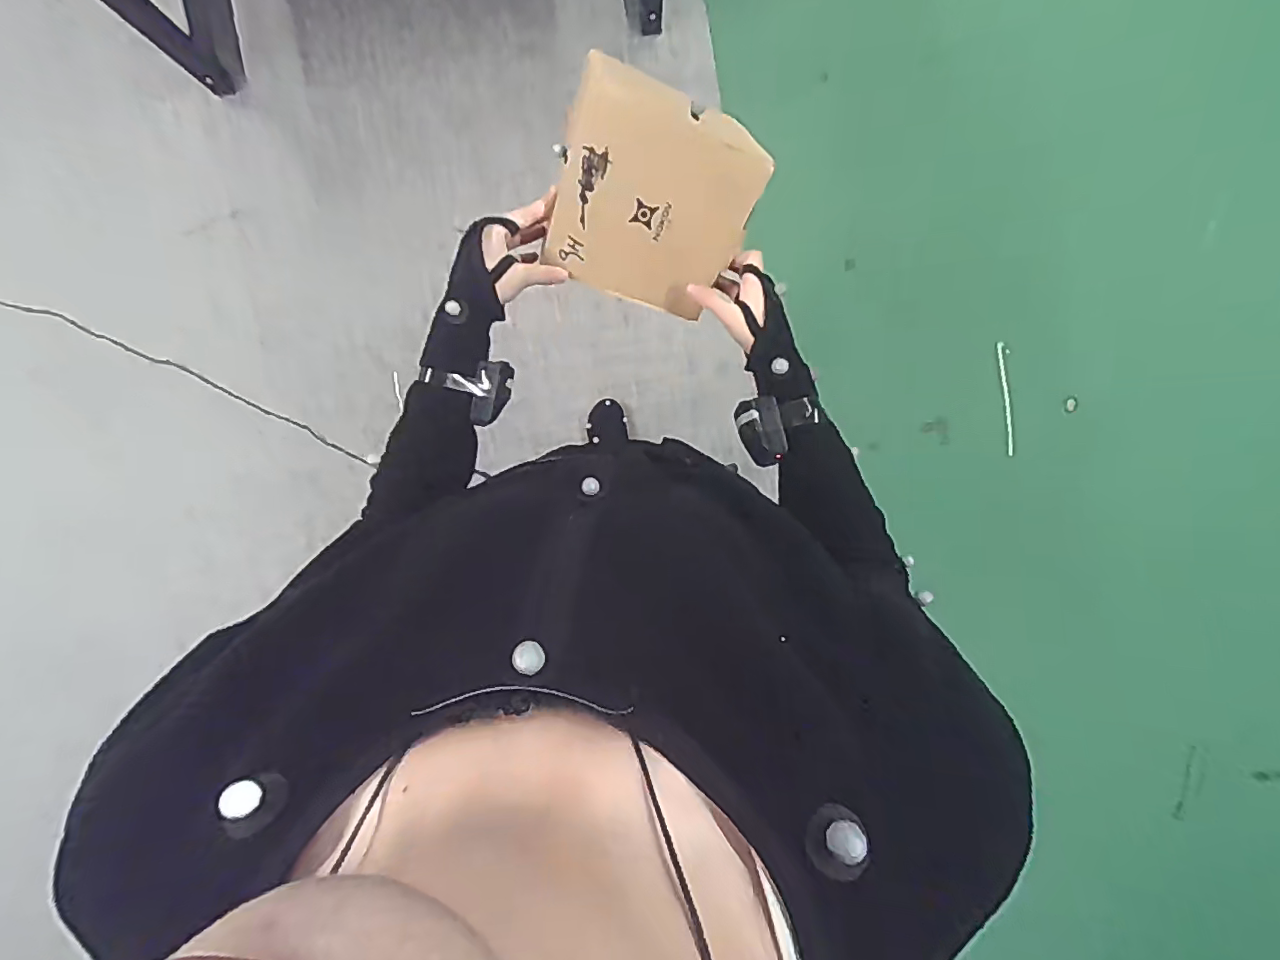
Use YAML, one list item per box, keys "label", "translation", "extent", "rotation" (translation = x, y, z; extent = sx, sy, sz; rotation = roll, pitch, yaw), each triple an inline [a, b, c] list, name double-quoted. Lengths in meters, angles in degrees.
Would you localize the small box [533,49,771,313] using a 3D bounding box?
- label: "small box"
  translation: [0.000, -0.304, 0.551]
  extent: [0.179, 0.176, 0.168]
  rotation: [13, 130, -18]
